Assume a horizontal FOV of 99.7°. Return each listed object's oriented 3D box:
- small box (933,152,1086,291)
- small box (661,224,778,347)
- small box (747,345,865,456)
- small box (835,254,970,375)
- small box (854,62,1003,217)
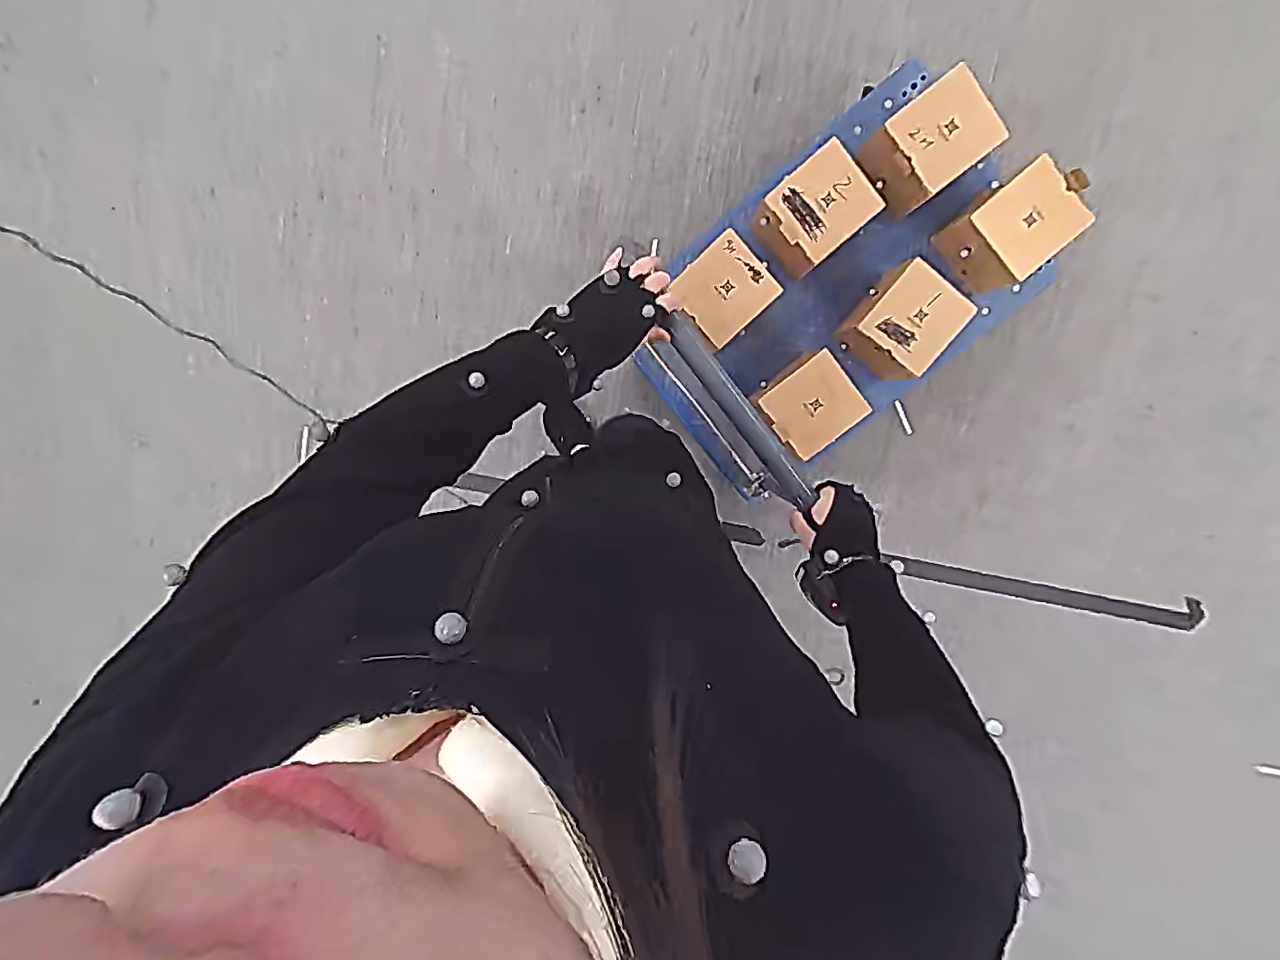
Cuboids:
[{"bbox_3d":[0.748,-0.521,1.124,0.179,0.176,0.168,-41,96,7],"label":"small box"},{"bbox_3d":[0.163,-0.403,1.159,0.179,0.176,0.168,-41,97,8],"label":"small box"},{"bbox_3d":[0.352,-0.174,1.193,0.179,0.176,0.168,-37,97,6],"label":"small box"},{"bbox_3d":[0.546,-0.342,1.159,0.168,0.176,0.179,39,97,-4],"label":"small box"},{"bbox_3d":[0.575,-0.679,1.102,0.179,0.176,0.168,-36,96,8],"label":"small box"}]
